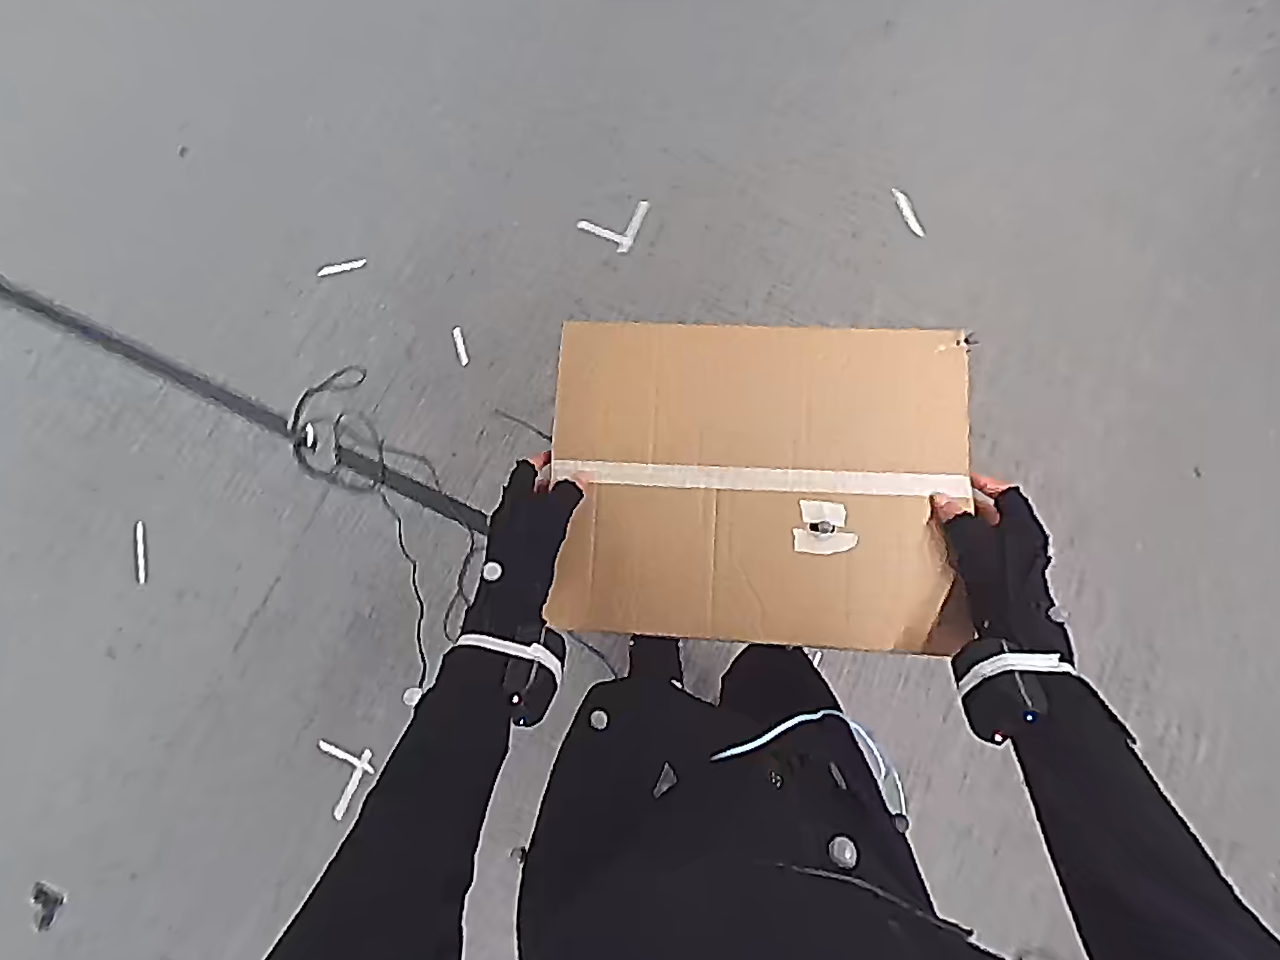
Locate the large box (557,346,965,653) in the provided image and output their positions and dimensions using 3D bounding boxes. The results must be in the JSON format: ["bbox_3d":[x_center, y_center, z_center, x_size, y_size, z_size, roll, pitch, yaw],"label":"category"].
[{"bbox_3d":[0.126,0.033,0.696,0.408,0.320,0.320,1,83,5],"label":"large box"}]
